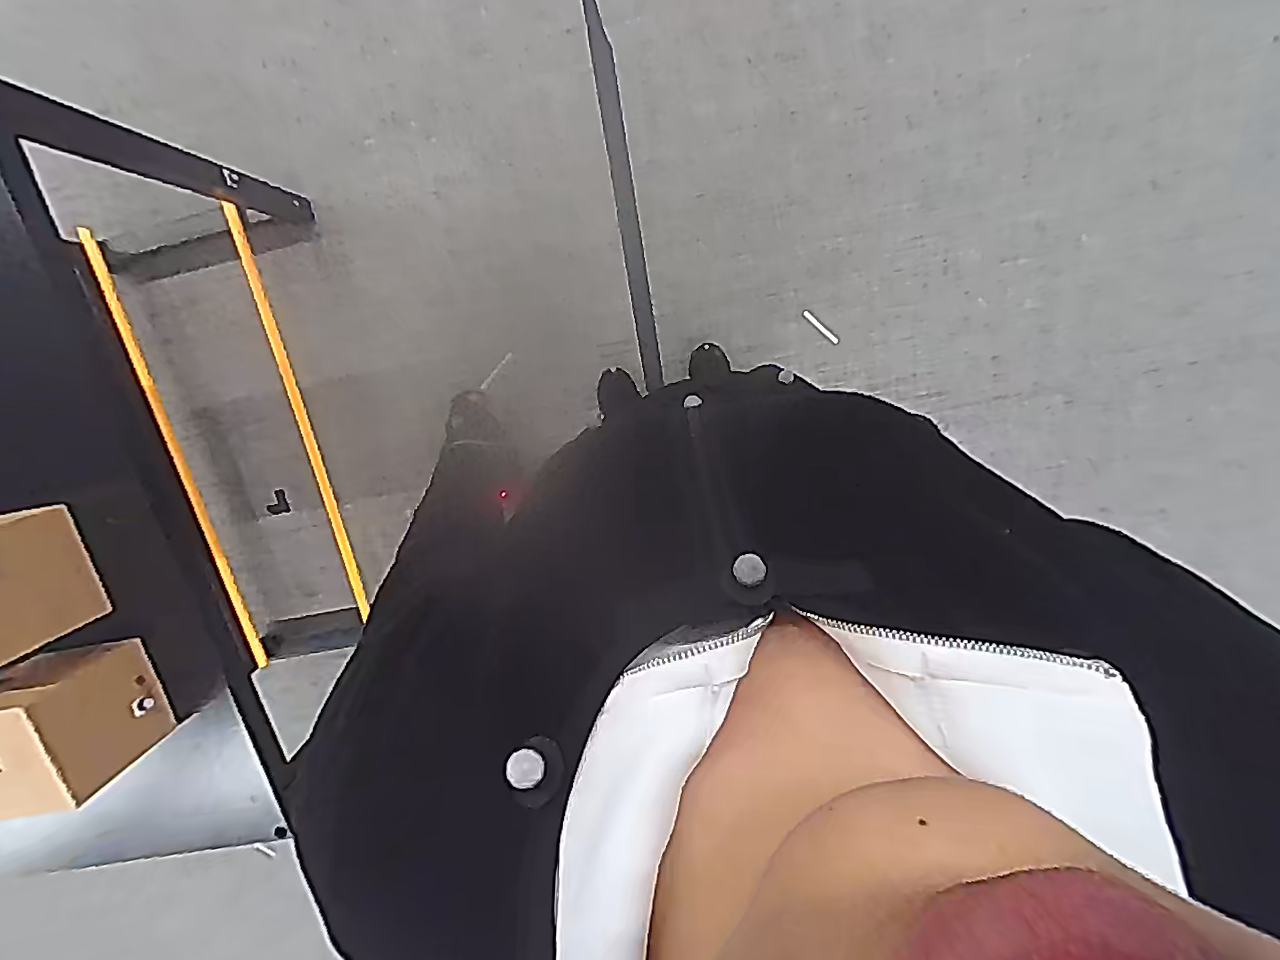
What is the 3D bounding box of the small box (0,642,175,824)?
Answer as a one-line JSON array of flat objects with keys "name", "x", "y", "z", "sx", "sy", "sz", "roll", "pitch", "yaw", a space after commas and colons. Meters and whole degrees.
[{"name": "small box", "x": -0.846, "y": 0.360, "z": 0.783, "sx": 0.179, "sy": 0.176, "sz": 0.168, "roll": -11, "pitch": 105, "yaw": 4}]
